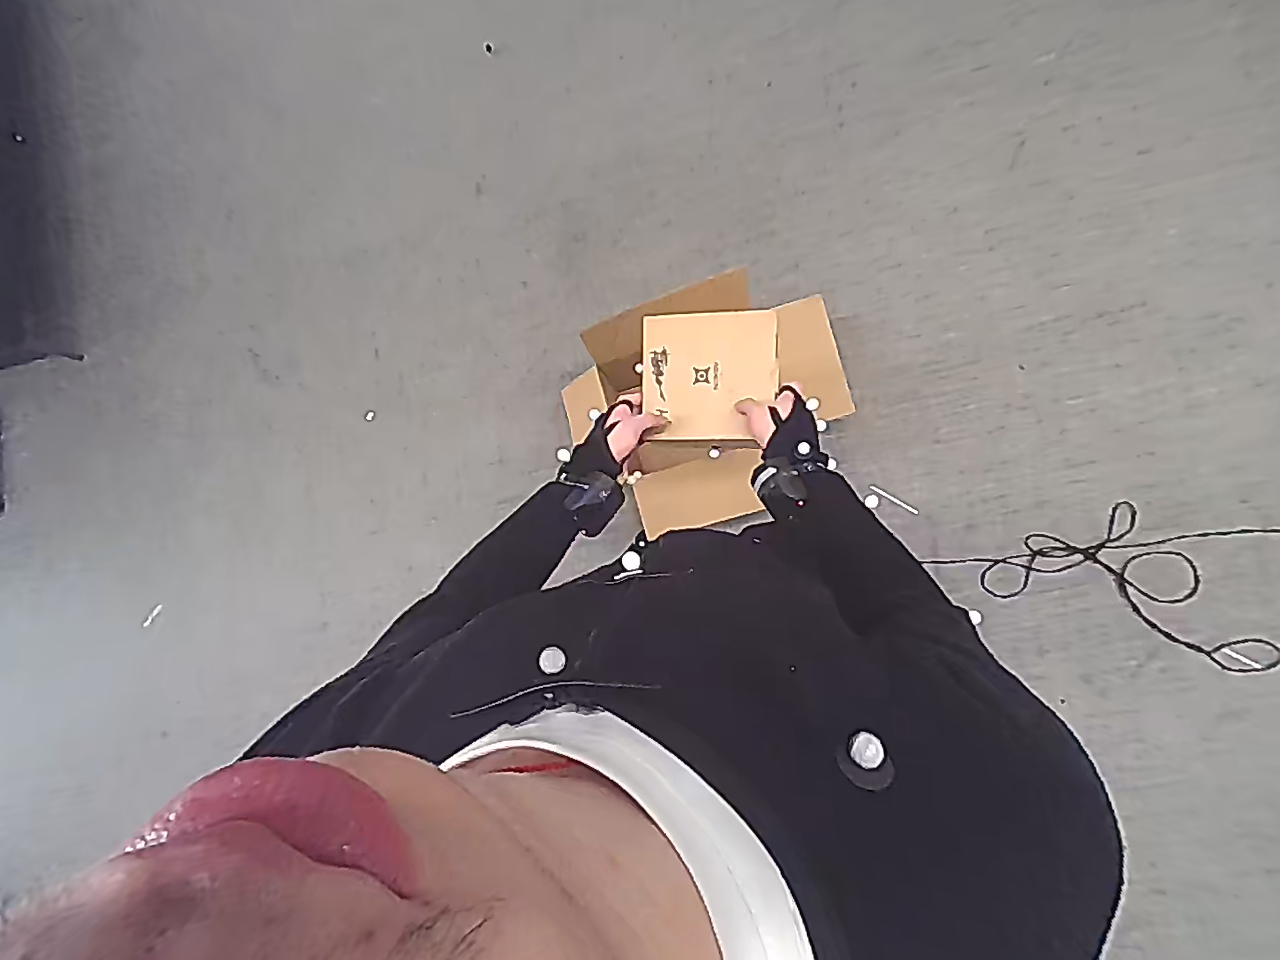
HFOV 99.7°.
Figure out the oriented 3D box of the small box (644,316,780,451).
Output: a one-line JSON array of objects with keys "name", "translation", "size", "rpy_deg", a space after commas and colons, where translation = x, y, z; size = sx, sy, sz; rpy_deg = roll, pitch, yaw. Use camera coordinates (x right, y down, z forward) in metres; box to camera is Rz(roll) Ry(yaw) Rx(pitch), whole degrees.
[{"name": "small box", "translation": [0.106, -0.130, 0.781], "size": [0.179, 0.176, 0.168], "rpy_deg": [1, 89, 11]}]
